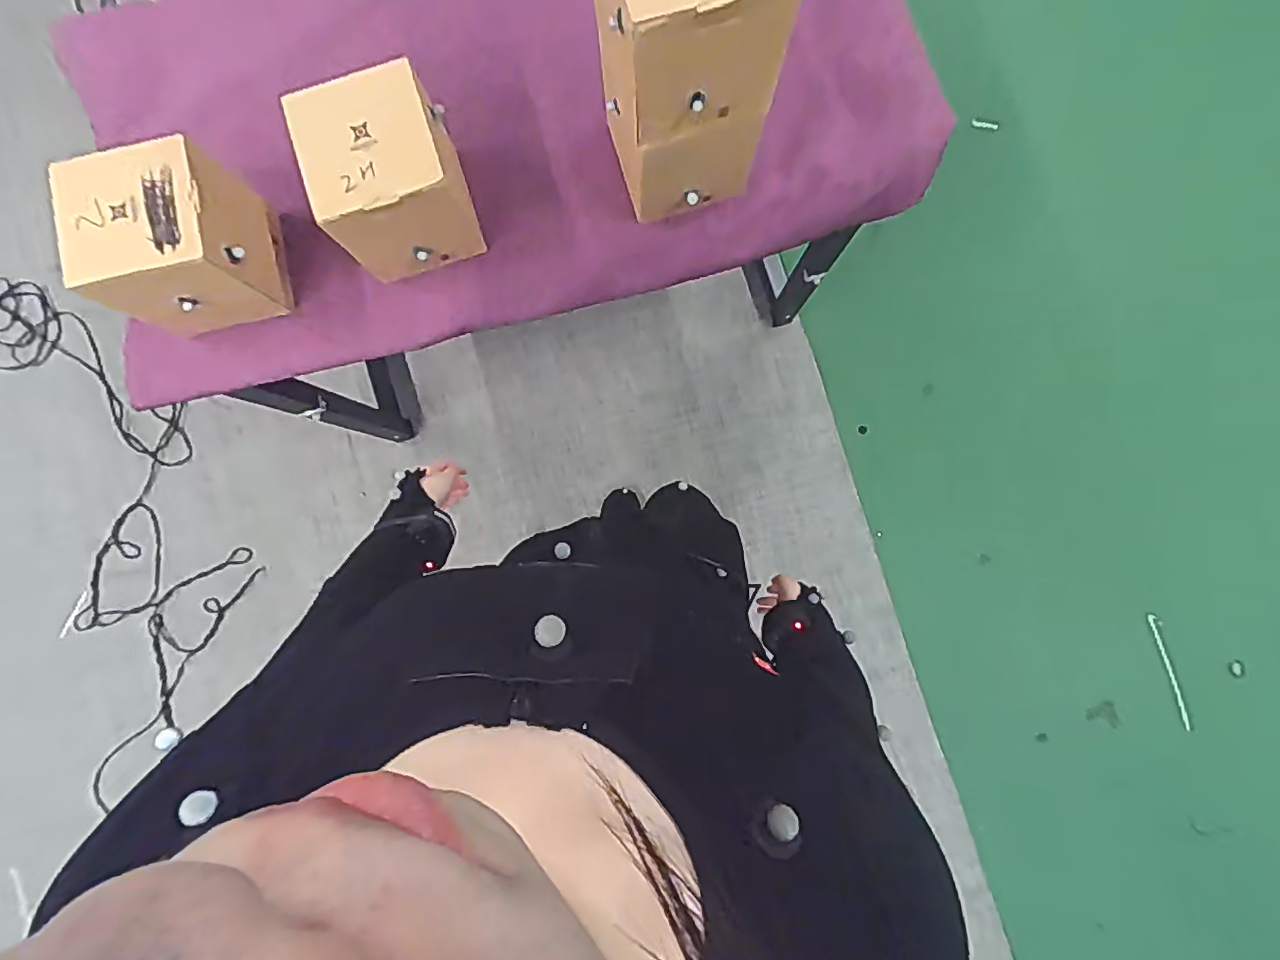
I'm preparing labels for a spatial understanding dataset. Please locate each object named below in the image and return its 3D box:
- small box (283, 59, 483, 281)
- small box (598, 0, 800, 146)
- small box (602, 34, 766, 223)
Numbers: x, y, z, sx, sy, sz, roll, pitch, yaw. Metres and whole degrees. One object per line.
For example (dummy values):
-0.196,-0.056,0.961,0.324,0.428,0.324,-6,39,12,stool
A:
-0.334,-0.405,0.734,0.168,0.176,0.179,-18,85,0,small box
0.050,-0.507,0.576,0.168,0.176,0.179,-17,87,0,small box
0.052,-0.491,0.738,0.168,0.176,0.179,-17,87,0,small box
